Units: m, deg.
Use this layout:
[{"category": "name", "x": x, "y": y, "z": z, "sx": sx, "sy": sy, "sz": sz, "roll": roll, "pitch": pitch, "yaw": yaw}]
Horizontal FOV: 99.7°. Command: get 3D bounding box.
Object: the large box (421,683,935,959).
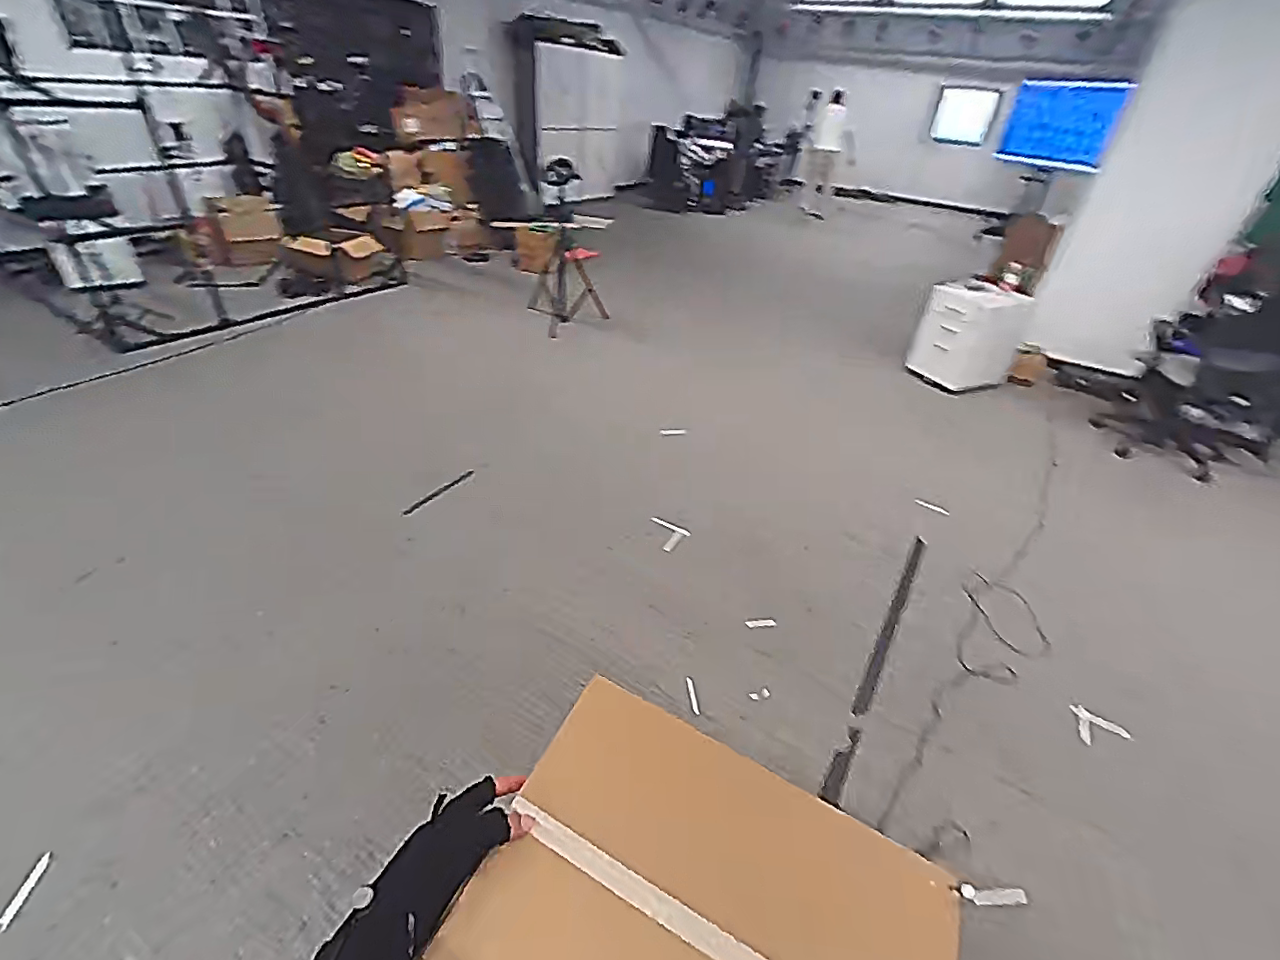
[{"category": "large box", "x": 0.032, "y": 0.504, "z": 0.584, "sx": 0.408, "sy": 0.320, "sz": 0.320, "roll": 24, "pitch": 46, "yaw": 16}]
